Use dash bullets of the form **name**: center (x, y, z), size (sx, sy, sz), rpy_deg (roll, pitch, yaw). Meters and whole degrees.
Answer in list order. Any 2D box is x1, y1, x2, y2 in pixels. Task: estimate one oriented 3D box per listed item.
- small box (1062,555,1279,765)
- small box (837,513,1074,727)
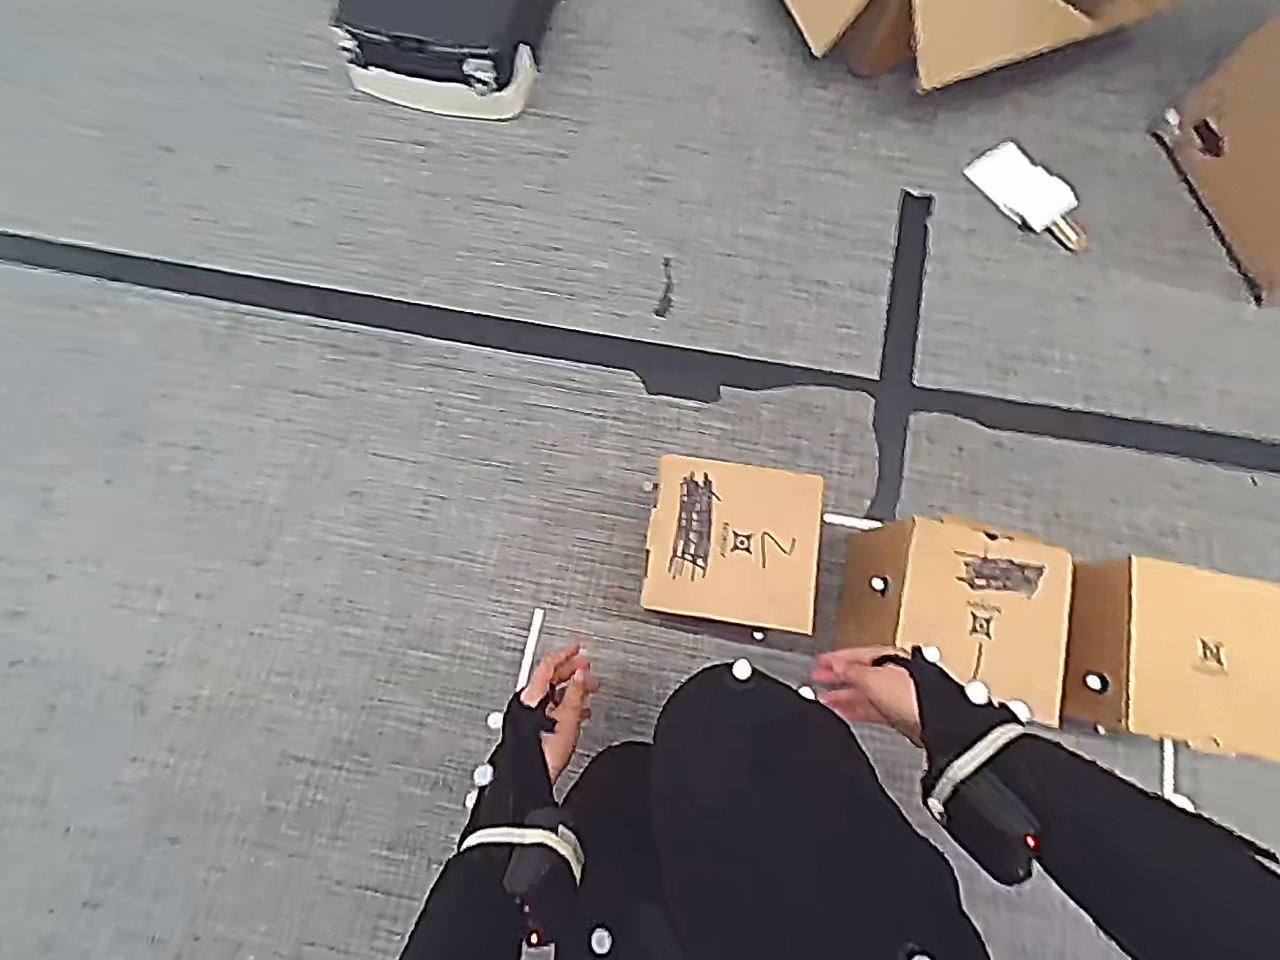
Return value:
- **small box**: center (0.565, 0.192, 0.609), size (0.168, 0.176, 0.179), rpy_deg (12, 78, 2)
- **small box**: center (0.341, 0.151, 0.614), size (0.168, 0.176, 0.179), rpy_deg (14, 79, 3)
